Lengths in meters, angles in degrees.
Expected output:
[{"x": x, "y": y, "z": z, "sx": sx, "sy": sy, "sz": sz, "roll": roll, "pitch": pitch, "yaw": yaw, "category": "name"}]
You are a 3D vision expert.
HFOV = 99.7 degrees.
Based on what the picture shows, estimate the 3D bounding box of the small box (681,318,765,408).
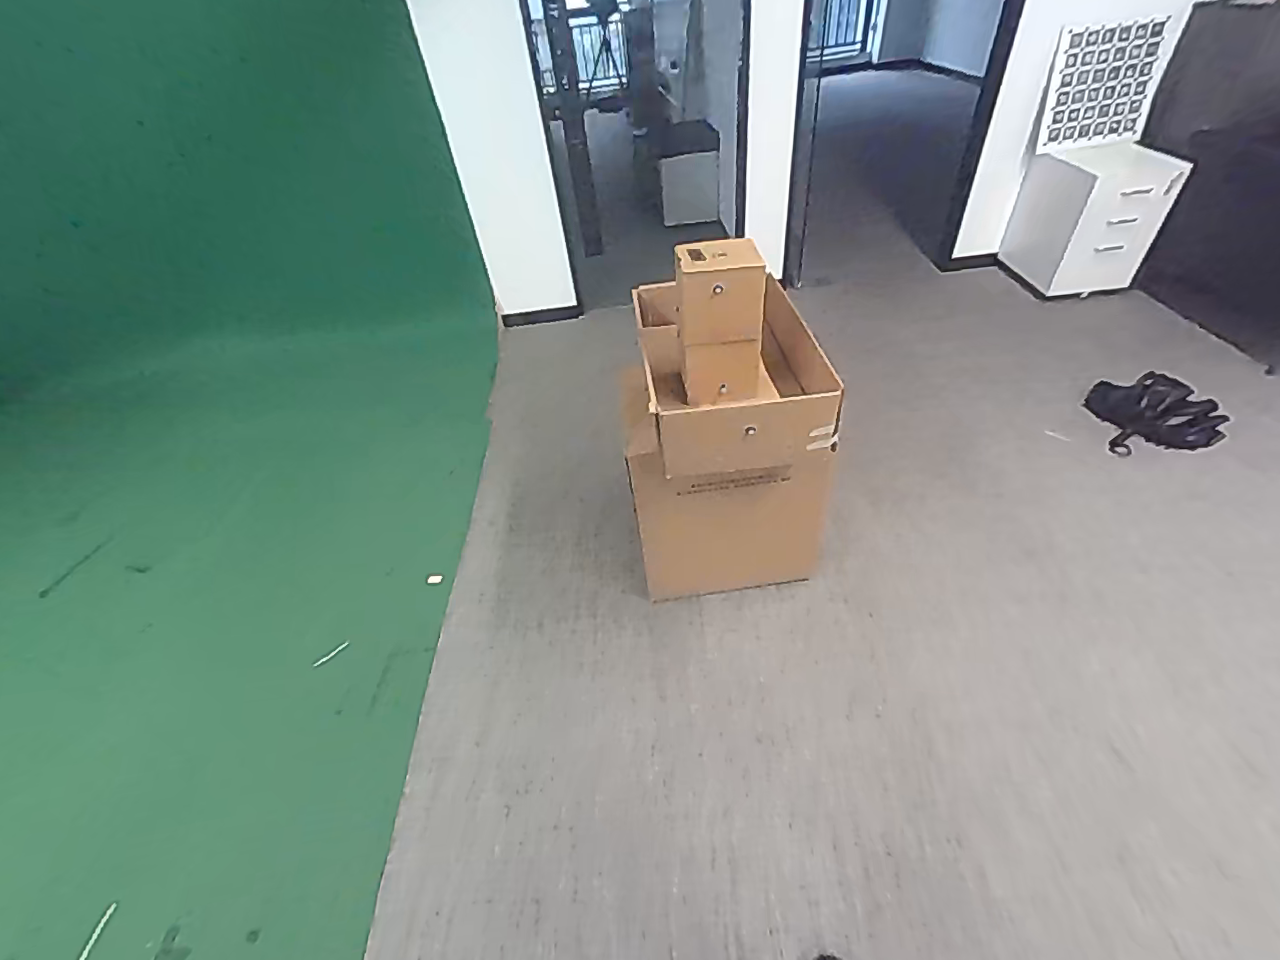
[{"x": 0.197, "y": -0.296, "z": 1.335, "sx": 0.179, "sy": 0.176, "sz": 0.168, "roll": -6, "pitch": 41, "yaw": 0, "category": "small box"}]

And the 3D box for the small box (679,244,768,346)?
[{"x": 0.184, "y": -0.415, "z": 1.223, "sx": 0.179, "sy": 0.176, "sz": 0.168, "roll": -4, "pitch": 42, "yaw": 2, "category": "small box"}]
